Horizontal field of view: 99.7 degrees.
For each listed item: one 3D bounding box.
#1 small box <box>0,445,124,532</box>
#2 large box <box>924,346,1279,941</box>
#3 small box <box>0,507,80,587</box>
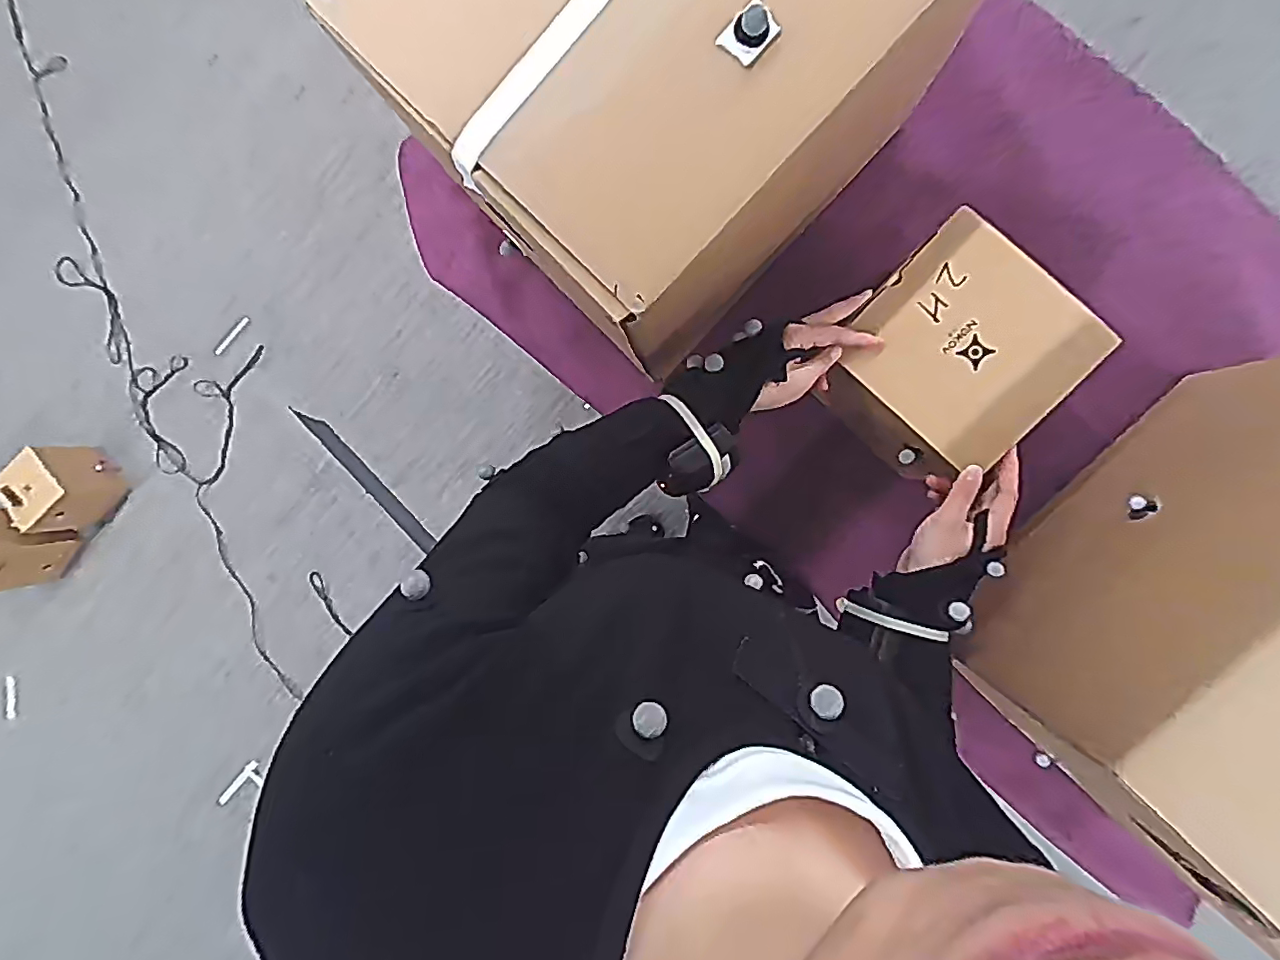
[{"bbox_3d":[-1.605,0.021,1.496,0.179,0.176,0.168,-40,87,6],"label":"small box"},{"bbox_3d":[0.540,0.125,0.440,0.320,0.320,0.408,44,95,3],"label":"large box"},{"bbox_3d":[-1.767,0.187,1.525,0.179,0.176,0.168,38,96,4],"label":"small box"}]
